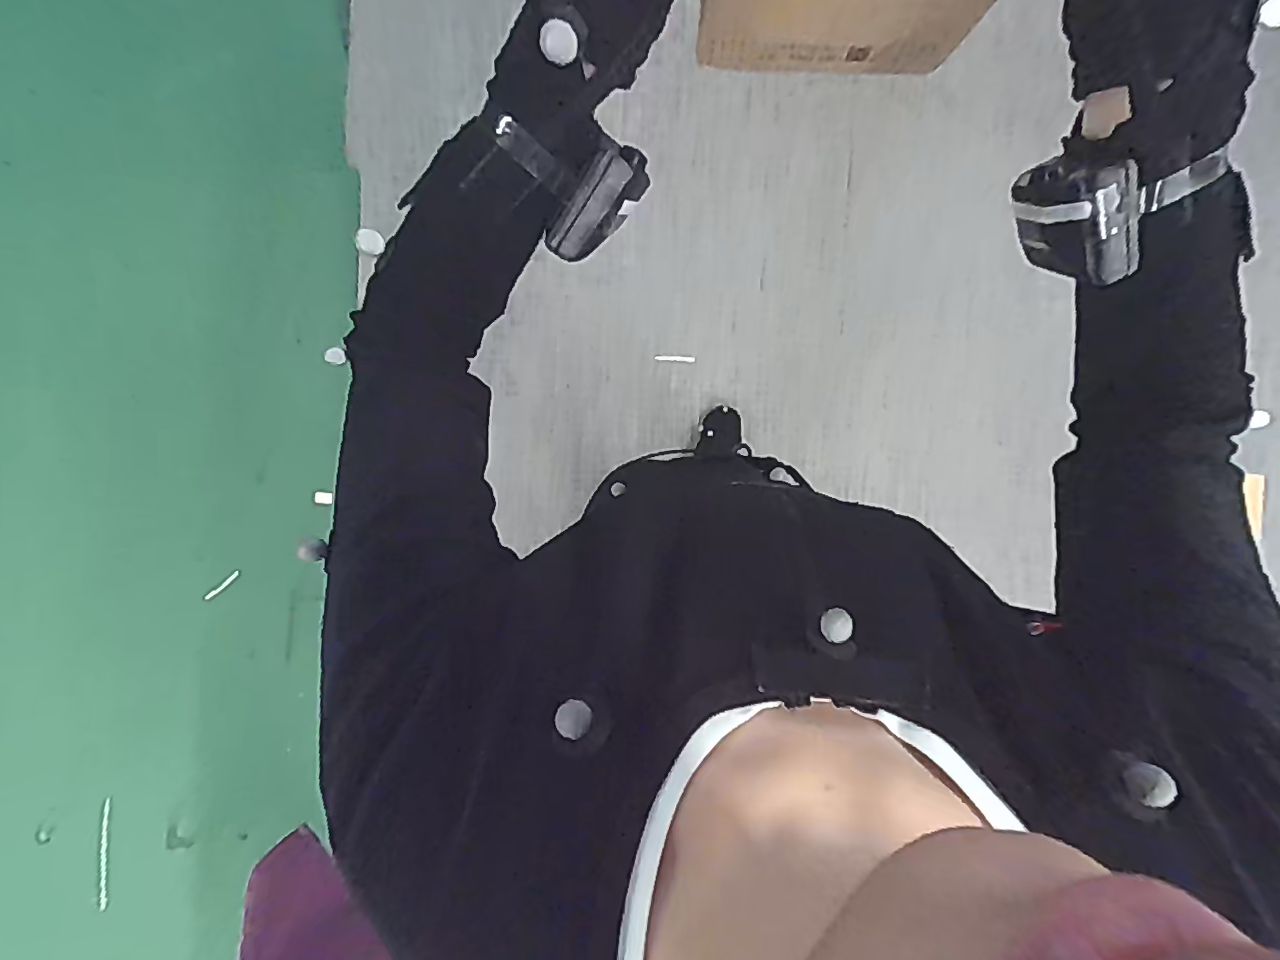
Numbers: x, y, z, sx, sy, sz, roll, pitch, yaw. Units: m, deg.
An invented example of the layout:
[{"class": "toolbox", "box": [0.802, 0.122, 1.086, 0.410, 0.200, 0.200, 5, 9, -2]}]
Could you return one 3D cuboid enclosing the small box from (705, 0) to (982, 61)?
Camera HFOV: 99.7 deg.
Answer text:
[{"class": "small box", "box": [0.125, -0.365, 0.276, 0.168, 0.176, 0.179, 3, 96, 1]}]
